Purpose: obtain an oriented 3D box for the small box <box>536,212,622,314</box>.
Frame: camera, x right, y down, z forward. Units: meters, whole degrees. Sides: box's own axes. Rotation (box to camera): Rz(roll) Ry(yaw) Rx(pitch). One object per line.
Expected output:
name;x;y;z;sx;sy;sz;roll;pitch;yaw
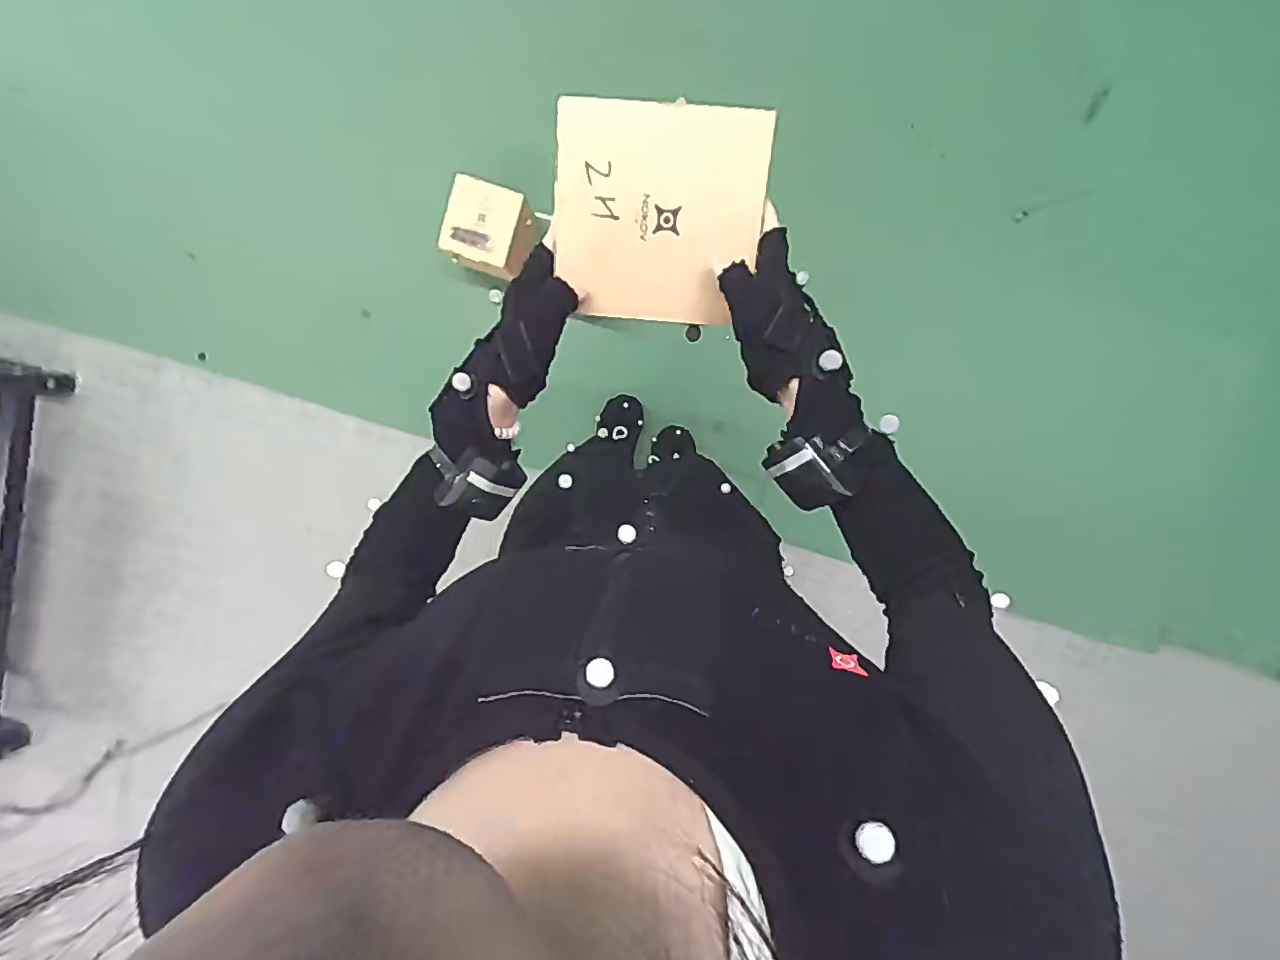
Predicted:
small box;-0.145;-0.532;1.349;0.168;0.176;0.179;16;98;-1
